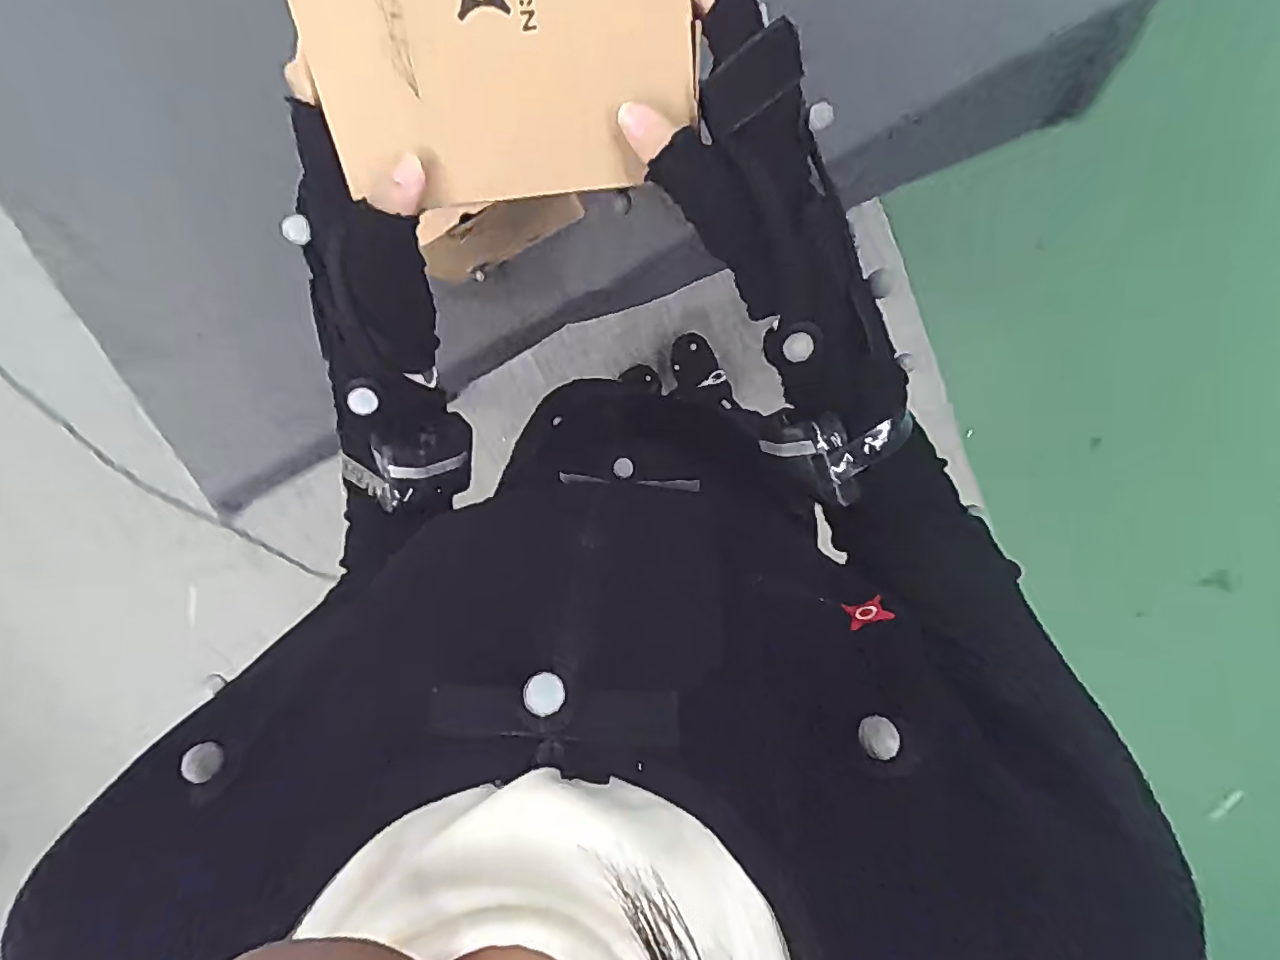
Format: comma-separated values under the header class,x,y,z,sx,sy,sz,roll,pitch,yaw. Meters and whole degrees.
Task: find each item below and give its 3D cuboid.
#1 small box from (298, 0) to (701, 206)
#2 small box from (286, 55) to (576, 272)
class,x,y,z,sx,sy,sz,roll,pitch,yaw
small box,-0.063,-0.256,0.302,0.179,0.176,0.168,-4,118,5
small box,-0.183,-0.325,0.535,0.168,0.176,0.179,-27,102,12
